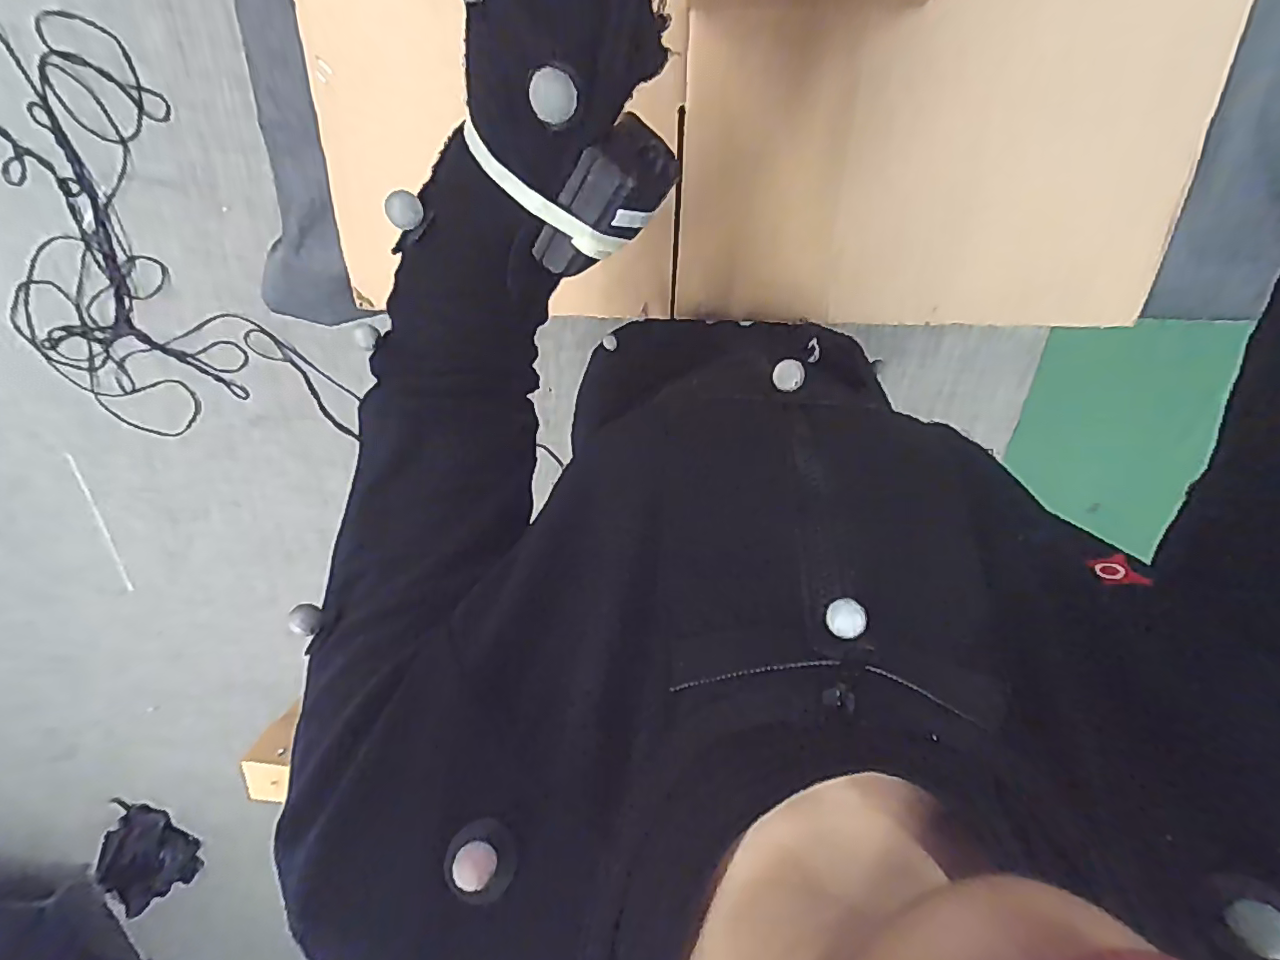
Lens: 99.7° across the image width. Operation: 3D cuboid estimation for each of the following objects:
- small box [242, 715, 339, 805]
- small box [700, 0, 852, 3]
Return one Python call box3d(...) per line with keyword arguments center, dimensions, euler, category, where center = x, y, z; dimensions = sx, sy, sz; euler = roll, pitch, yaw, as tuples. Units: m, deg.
box3d(center=(-1.046, 0.839, 1.632), dimensions=(0.179, 0.176, 0.168), euler=(7, 114, 0), category="small box")
box3d(center=(0.112, -0.375, 0.268), dimensions=(0.179, 0.176, 0.168), euler=(1, 112, 4), category="small box")
